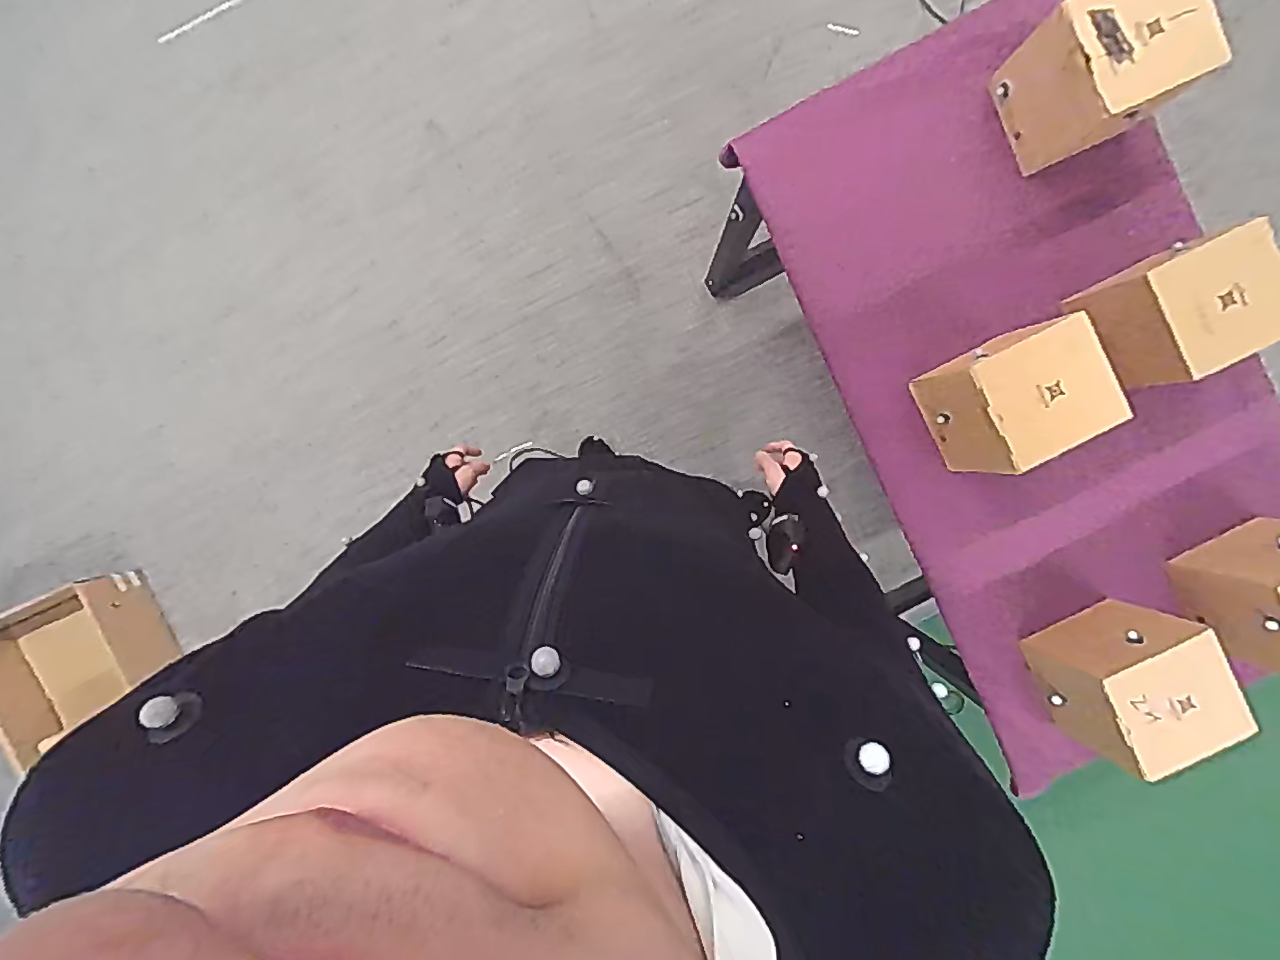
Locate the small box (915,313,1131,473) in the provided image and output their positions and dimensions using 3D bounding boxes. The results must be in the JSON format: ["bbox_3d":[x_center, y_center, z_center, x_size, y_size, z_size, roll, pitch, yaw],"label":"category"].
[{"bbox_3d":[0.562,-0.125,0.818,0.179,0.176,0.168,-27,93,2],"label":"small box"}]

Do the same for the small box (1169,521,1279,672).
[{"bbox_3d":[0.997,0.176,0.832,0.179,0.176,0.168,-27,92,1],"label":"small box"}]

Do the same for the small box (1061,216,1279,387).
[{"bbox_3d":[0.798,-0.252,0.810,0.179,0.176,0.168,-26,92,3],"label":"small box"}]

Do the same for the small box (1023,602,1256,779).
[{"bbox_3d":[0.755,0.311,0.837,0.179,0.176,0.168,-25,91,1],"label":"small box"}]

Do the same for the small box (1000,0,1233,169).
[{"bbox_3d":[0.667,-0.596,0.786,0.179,0.176,0.168,-24,94,3],"label":"small box"}]
